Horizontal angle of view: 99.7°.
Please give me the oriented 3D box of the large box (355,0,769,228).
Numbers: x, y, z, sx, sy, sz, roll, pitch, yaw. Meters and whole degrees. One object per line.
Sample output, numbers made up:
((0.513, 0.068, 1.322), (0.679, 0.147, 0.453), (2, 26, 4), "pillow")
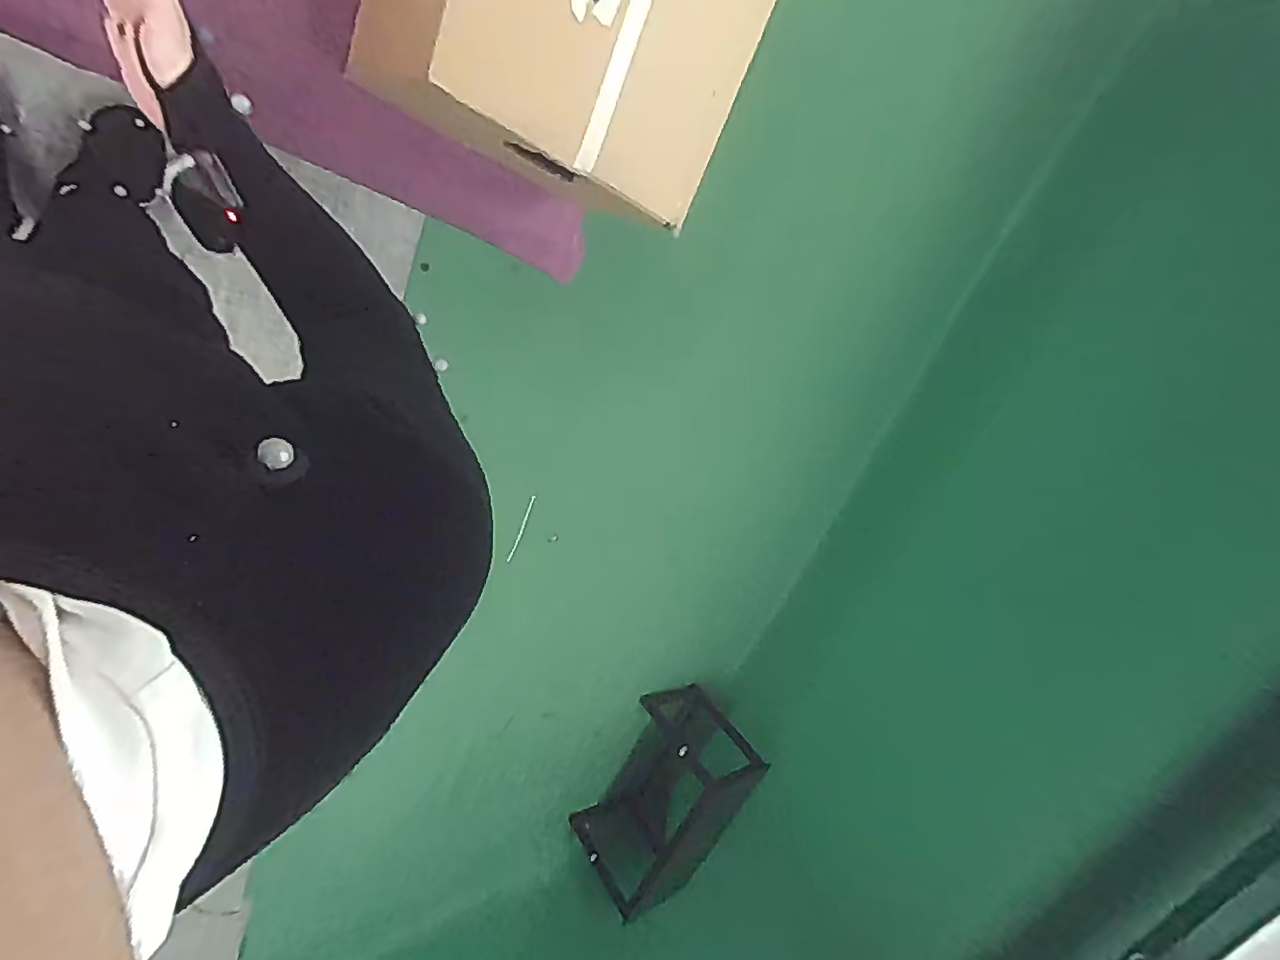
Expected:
((-0.073, -0.564, 0.589), (0.320, 0.320, 0.408), (6, 117, -44), "large box")
